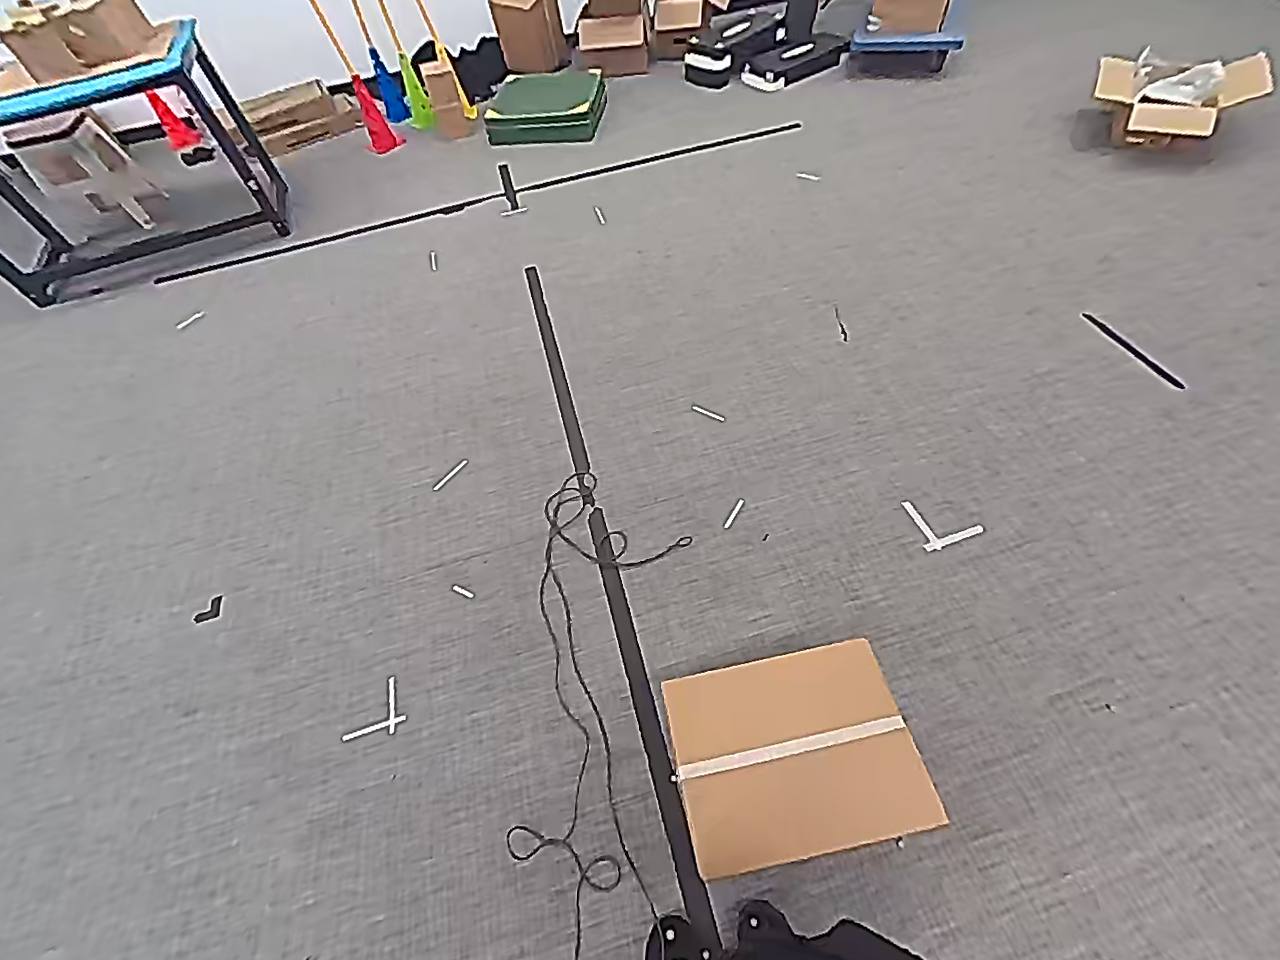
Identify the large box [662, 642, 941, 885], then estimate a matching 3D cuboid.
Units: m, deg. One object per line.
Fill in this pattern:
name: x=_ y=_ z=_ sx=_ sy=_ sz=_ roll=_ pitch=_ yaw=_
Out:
large box: x=0.278 y=0.556 z=1.062 sx=0.408 sy=0.320 sz=0.320 roll=-12 pitch=53 yaw=-2
